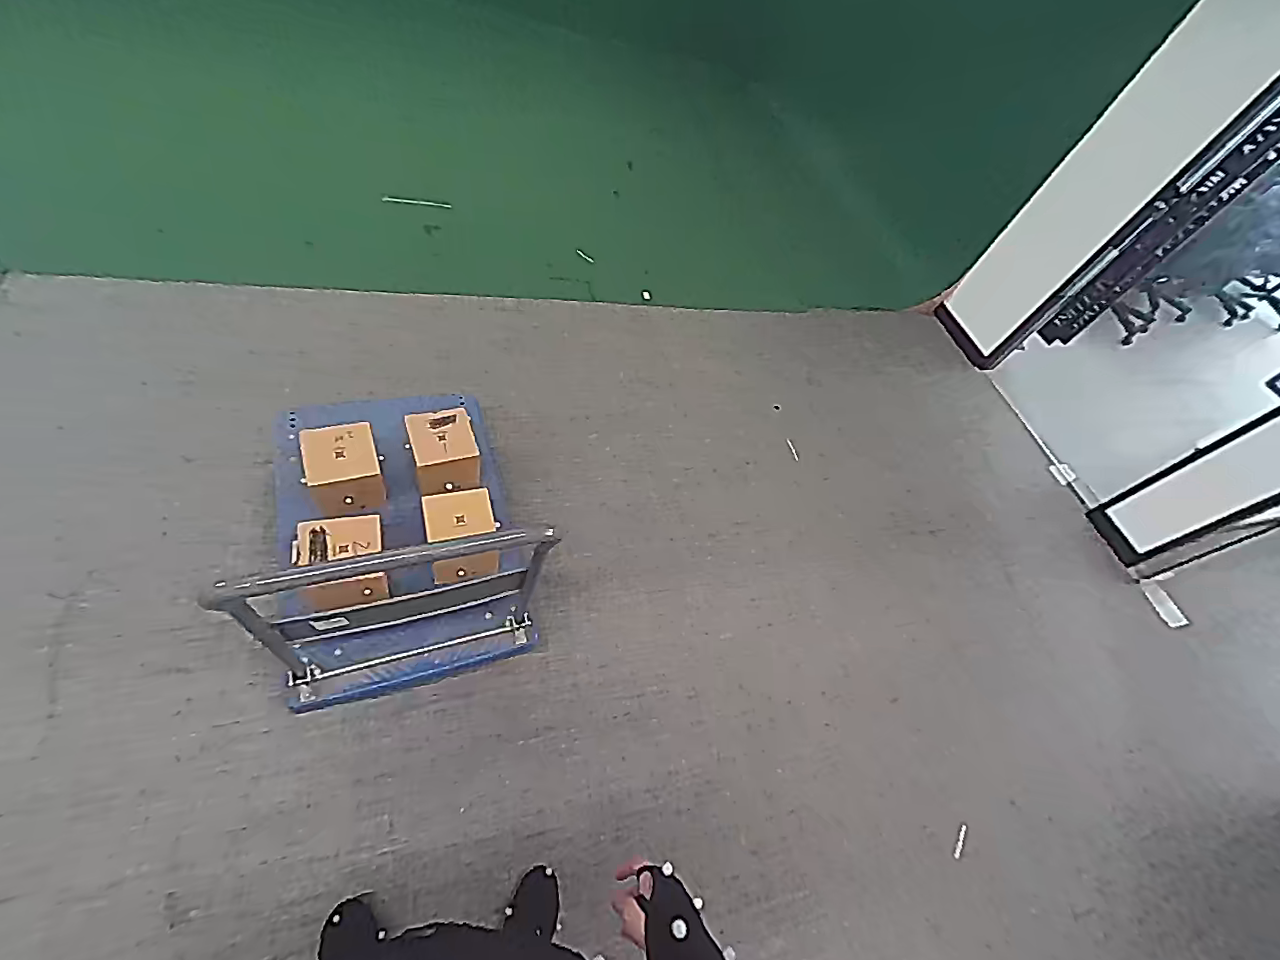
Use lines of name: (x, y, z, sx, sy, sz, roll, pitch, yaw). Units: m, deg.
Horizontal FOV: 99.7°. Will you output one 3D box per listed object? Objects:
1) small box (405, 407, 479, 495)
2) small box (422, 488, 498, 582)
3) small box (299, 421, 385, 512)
small box: (-0.565, -0.081, 1.544, 0.168, 0.176, 0.179, -13, 63, -24)
small box: (-0.477, 0.145, 1.424, 0.168, 0.176, 0.179, -8, 61, -23)
small box: (-0.787, -0.029, 1.438, 0.168, 0.176, 0.179, -12, 62, -25)
